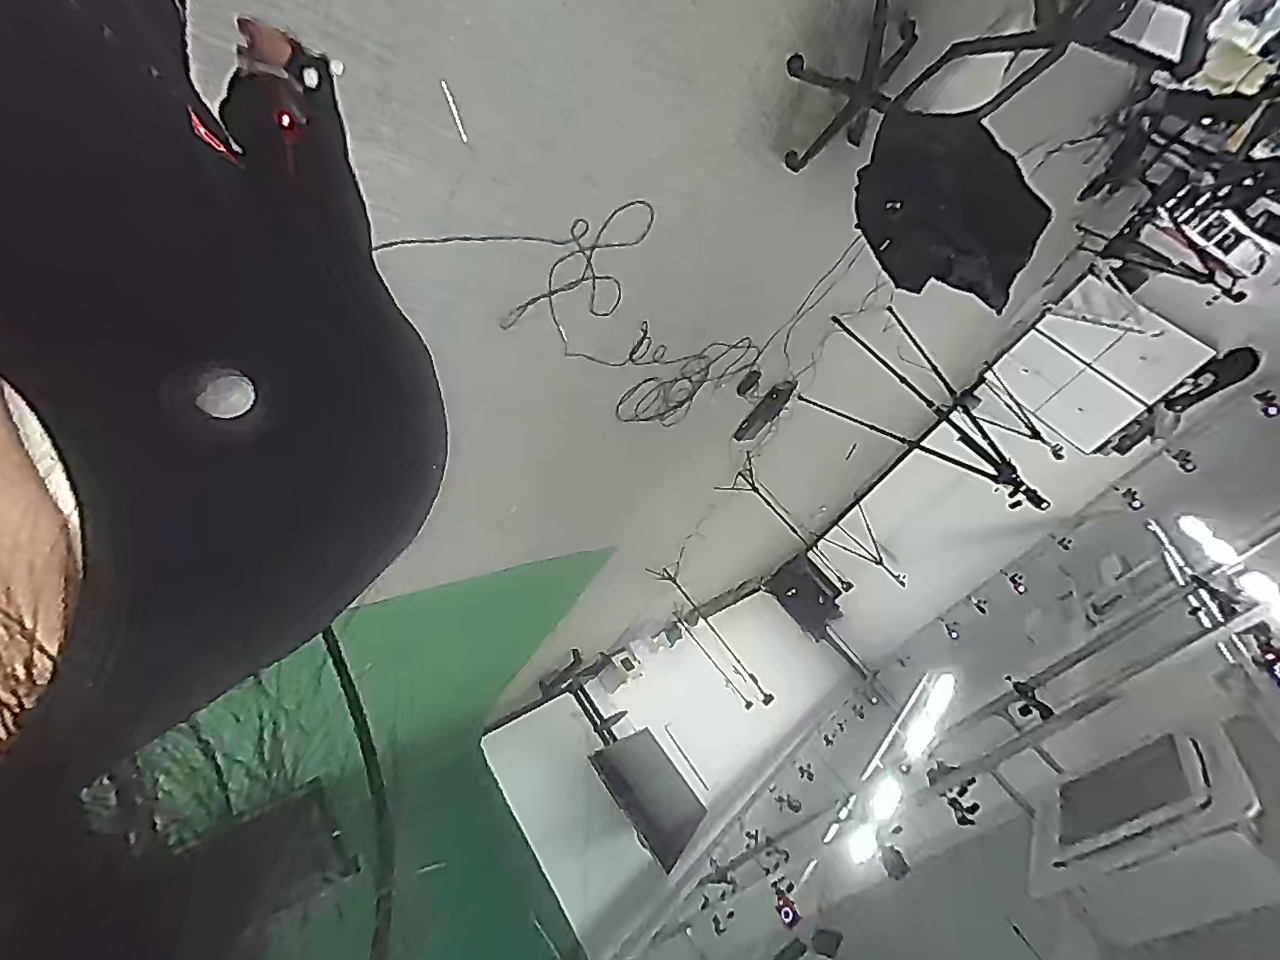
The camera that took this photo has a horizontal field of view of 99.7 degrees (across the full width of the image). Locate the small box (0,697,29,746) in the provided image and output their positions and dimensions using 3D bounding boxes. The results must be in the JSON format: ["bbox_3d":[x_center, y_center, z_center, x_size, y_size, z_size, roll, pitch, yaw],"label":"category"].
[{"bbox_3d":[-2.070,0.814,1.711,0.168,0.176,0.179,-4,137,-52],"label":"small box"}]
